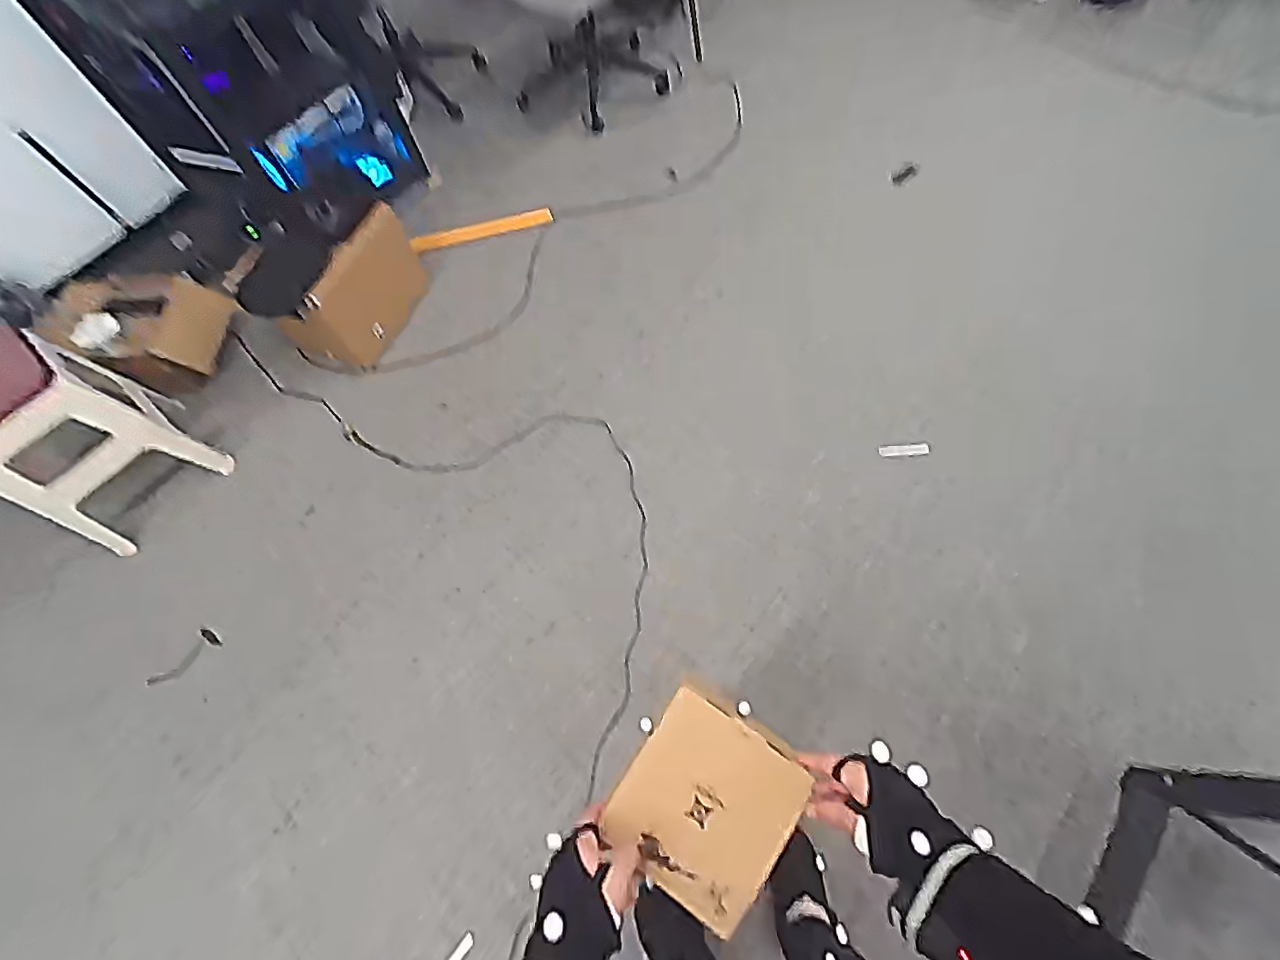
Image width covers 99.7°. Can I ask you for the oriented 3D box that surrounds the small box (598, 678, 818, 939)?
[{"bbox_3d":[0.073,0.351,0.626,0.168,0.176,0.179,33,79,12],"label":"small box"}]
